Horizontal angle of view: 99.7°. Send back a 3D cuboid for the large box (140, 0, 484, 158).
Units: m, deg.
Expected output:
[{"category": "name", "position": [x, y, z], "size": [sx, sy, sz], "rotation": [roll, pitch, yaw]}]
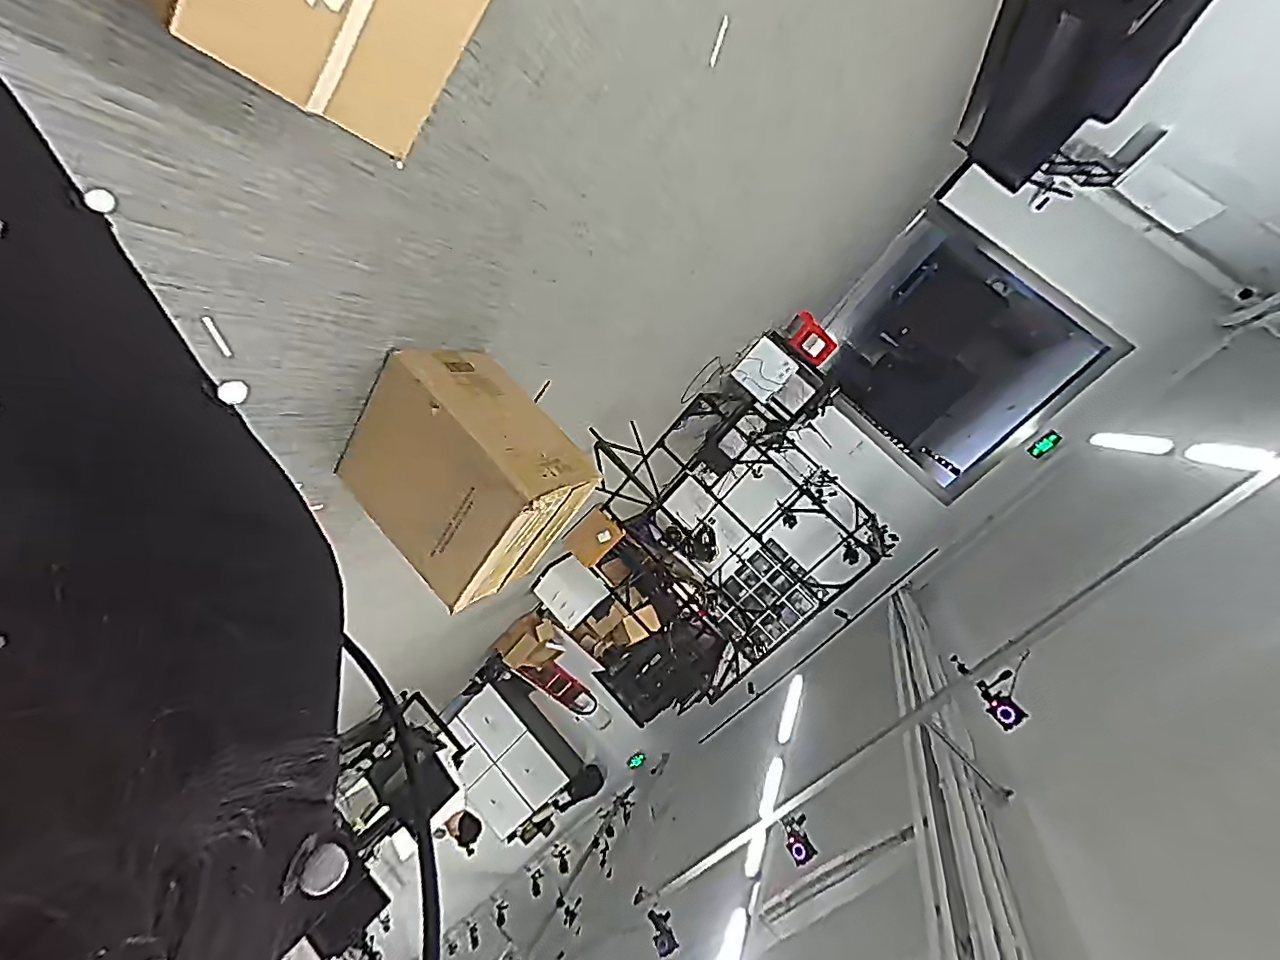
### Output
[{"category": "large box", "position": [-0.401, -0.715, 0.644], "size": [0.408, 0.320, 0.320], "rotation": [-47, 169, 19]}]
